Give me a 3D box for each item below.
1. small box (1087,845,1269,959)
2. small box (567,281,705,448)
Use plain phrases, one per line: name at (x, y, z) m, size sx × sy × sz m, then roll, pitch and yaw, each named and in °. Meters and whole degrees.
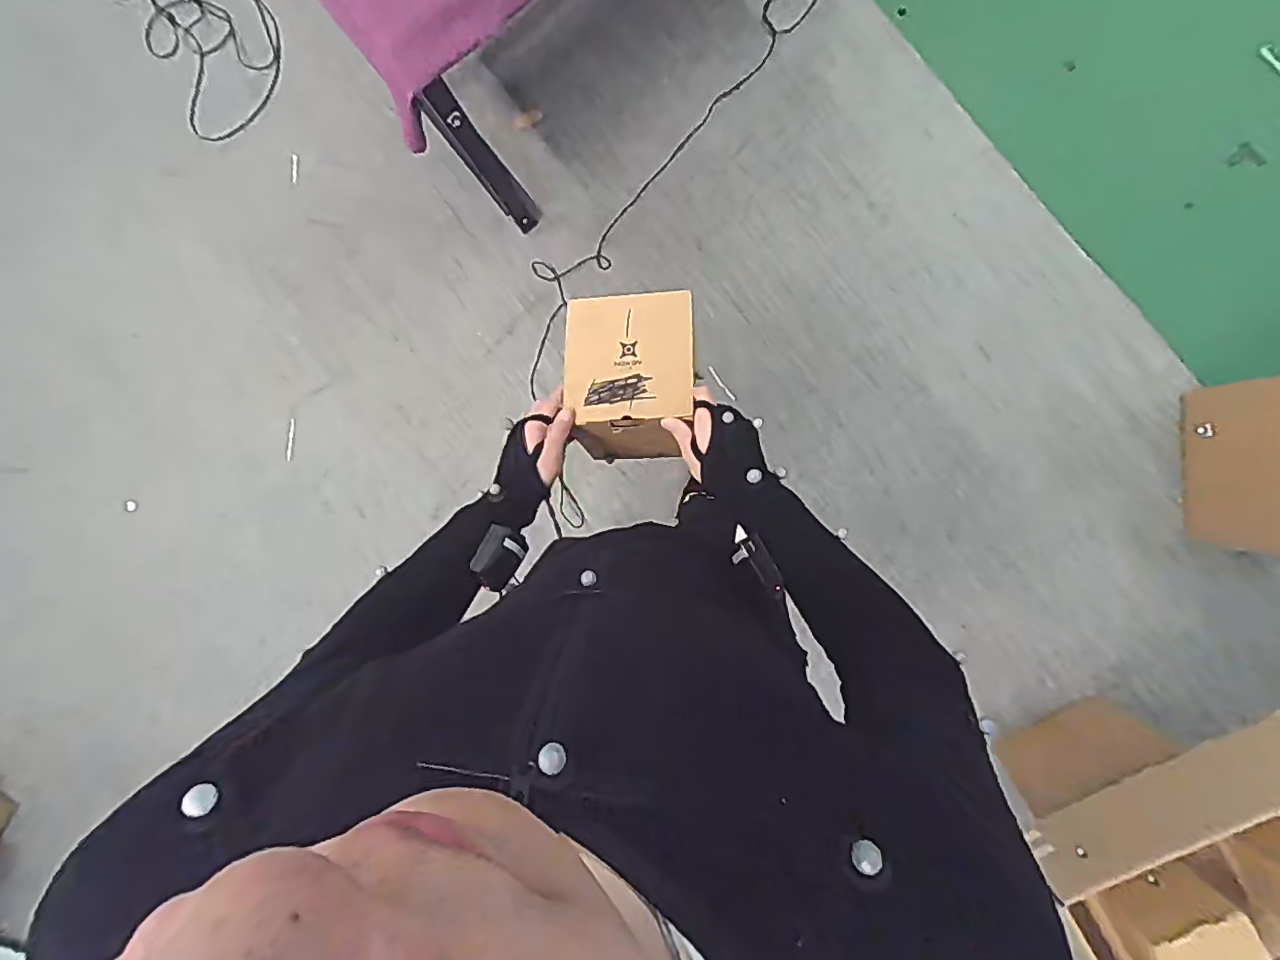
small box at (1.012, 0.846, 1.018) m, size 0.168 × 0.176 × 0.179 m, roll -29°, pitch 86°, yaw 6°
small box at (0.003, -0.146, 0.747) m, size 0.168 × 0.176 × 0.179 m, roll -2°, pitch 76°, yaw 8°
